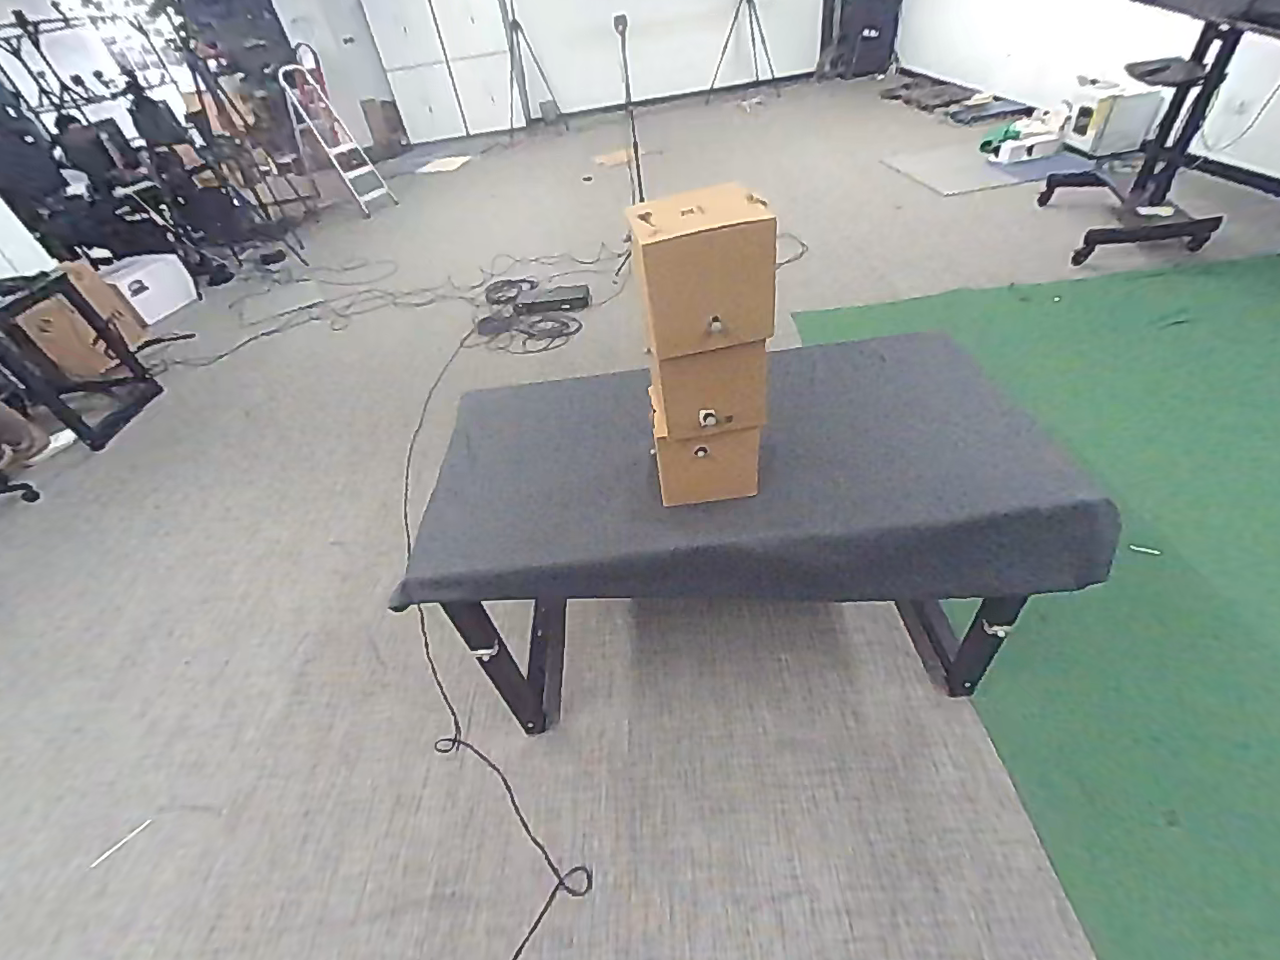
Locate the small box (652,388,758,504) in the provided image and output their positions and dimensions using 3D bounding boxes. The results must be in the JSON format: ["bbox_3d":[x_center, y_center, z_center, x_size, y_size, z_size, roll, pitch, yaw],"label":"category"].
[{"bbox_3d":[0.123,-0.071,1.015,0.179,0.176,0.168,-7,42,3],"label":"small box"}]

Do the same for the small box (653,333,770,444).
[{"bbox_3d":[0.111,-0.186,0.902,0.168,0.176,0.179,-12,43,1],"label":"small box"}]

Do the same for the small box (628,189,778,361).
[{"bbox_3d":[0.087,-0.294,0.780,0.179,0.176,0.168,-11,42,0],"label":"small box"}]
